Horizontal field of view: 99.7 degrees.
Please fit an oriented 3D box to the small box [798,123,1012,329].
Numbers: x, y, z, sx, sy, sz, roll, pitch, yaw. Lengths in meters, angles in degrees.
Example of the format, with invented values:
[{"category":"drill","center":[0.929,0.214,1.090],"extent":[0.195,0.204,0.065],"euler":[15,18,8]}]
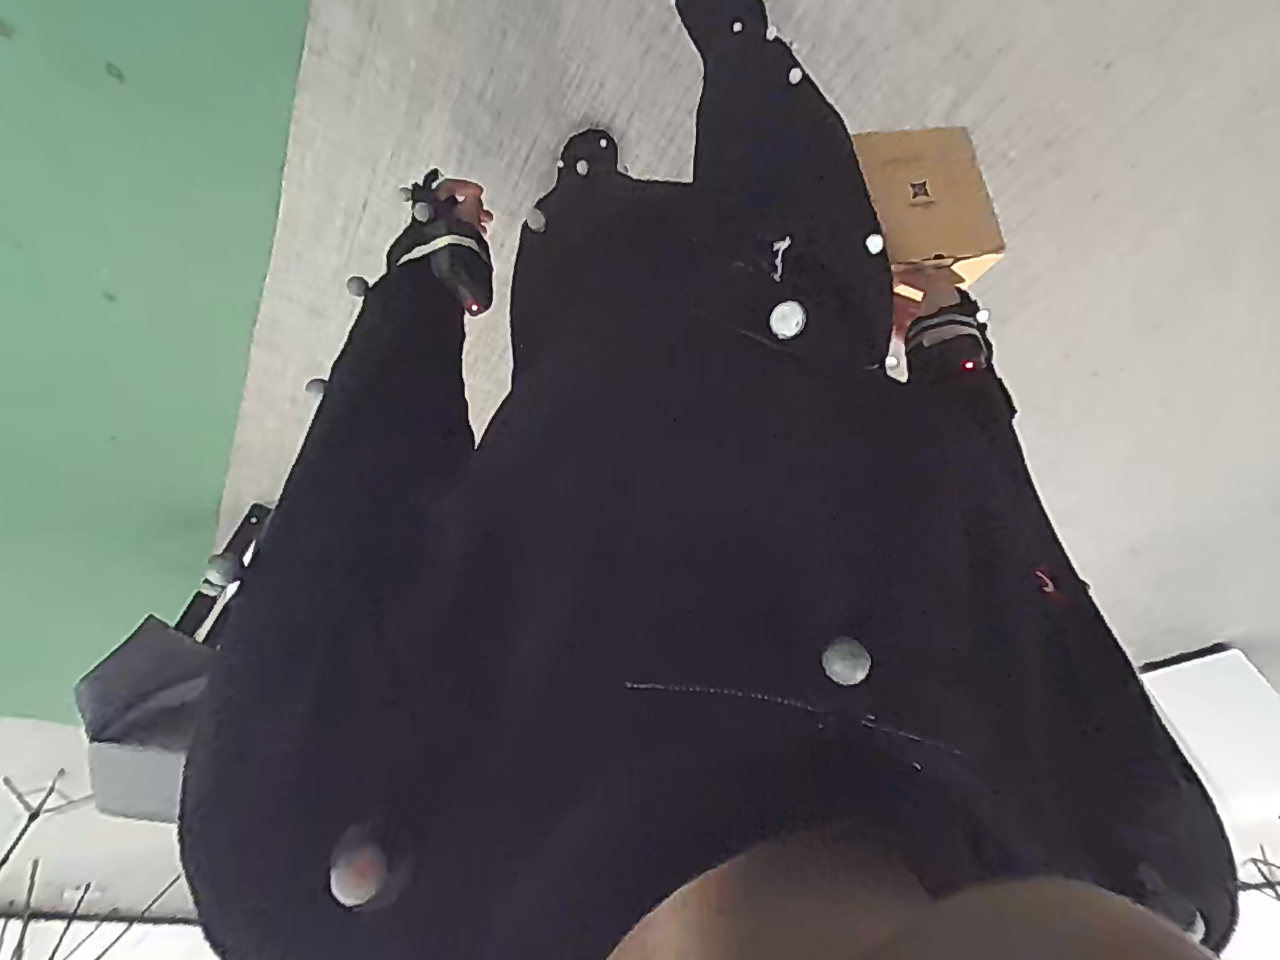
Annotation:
[{"category":"small box","center":[0.318,-0.307,0.688],"extent":[0.168,0.179,0.176],"euler":[-7,168,-4]}]
